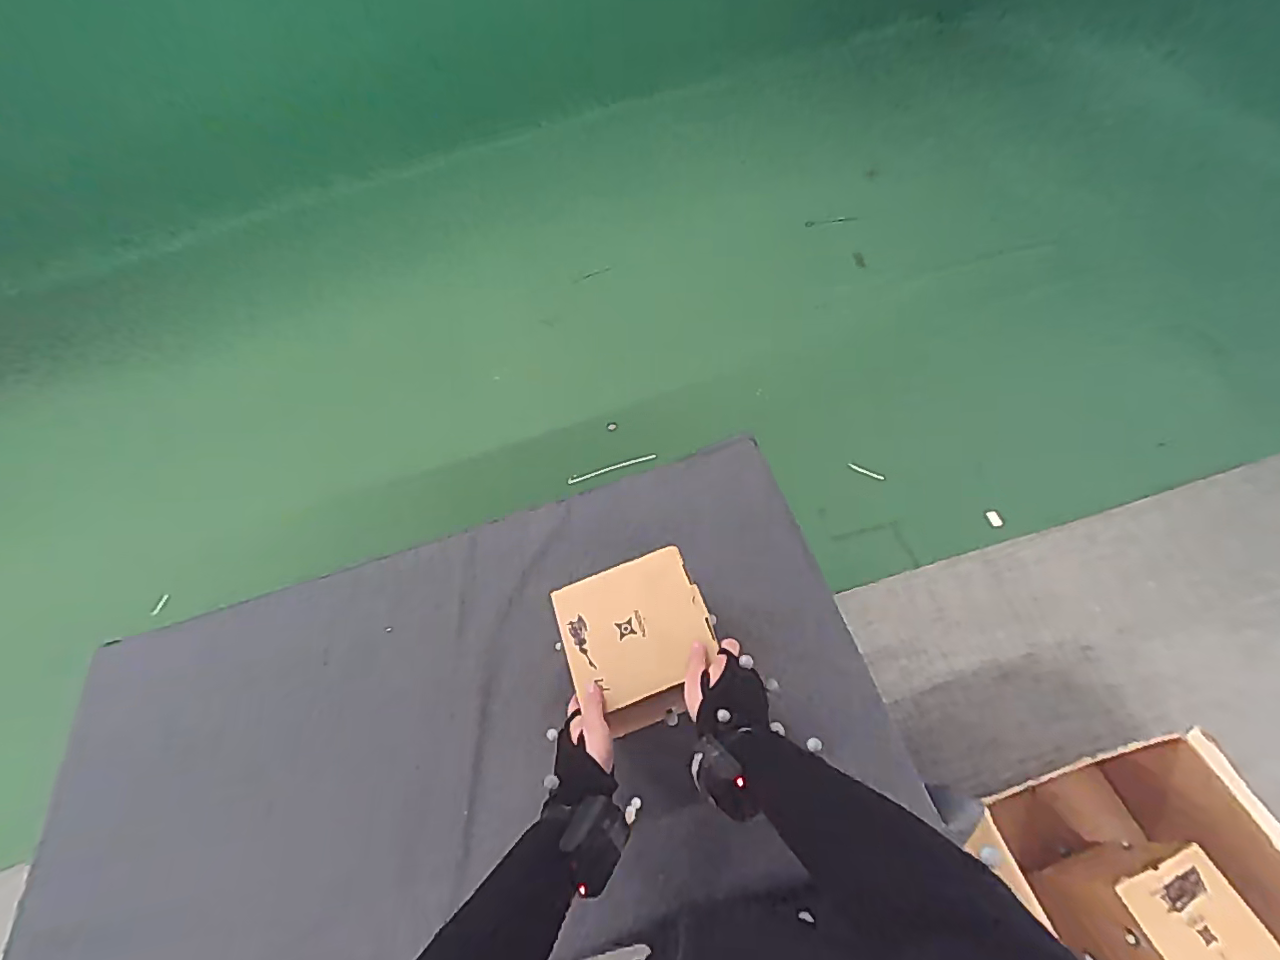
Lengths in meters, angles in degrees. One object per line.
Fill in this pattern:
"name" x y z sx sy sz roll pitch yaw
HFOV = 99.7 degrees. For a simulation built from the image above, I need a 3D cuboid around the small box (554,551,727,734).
"small box" 0.006 0.227 0.737 0.179 0.176 0.168 -23 59 -4
